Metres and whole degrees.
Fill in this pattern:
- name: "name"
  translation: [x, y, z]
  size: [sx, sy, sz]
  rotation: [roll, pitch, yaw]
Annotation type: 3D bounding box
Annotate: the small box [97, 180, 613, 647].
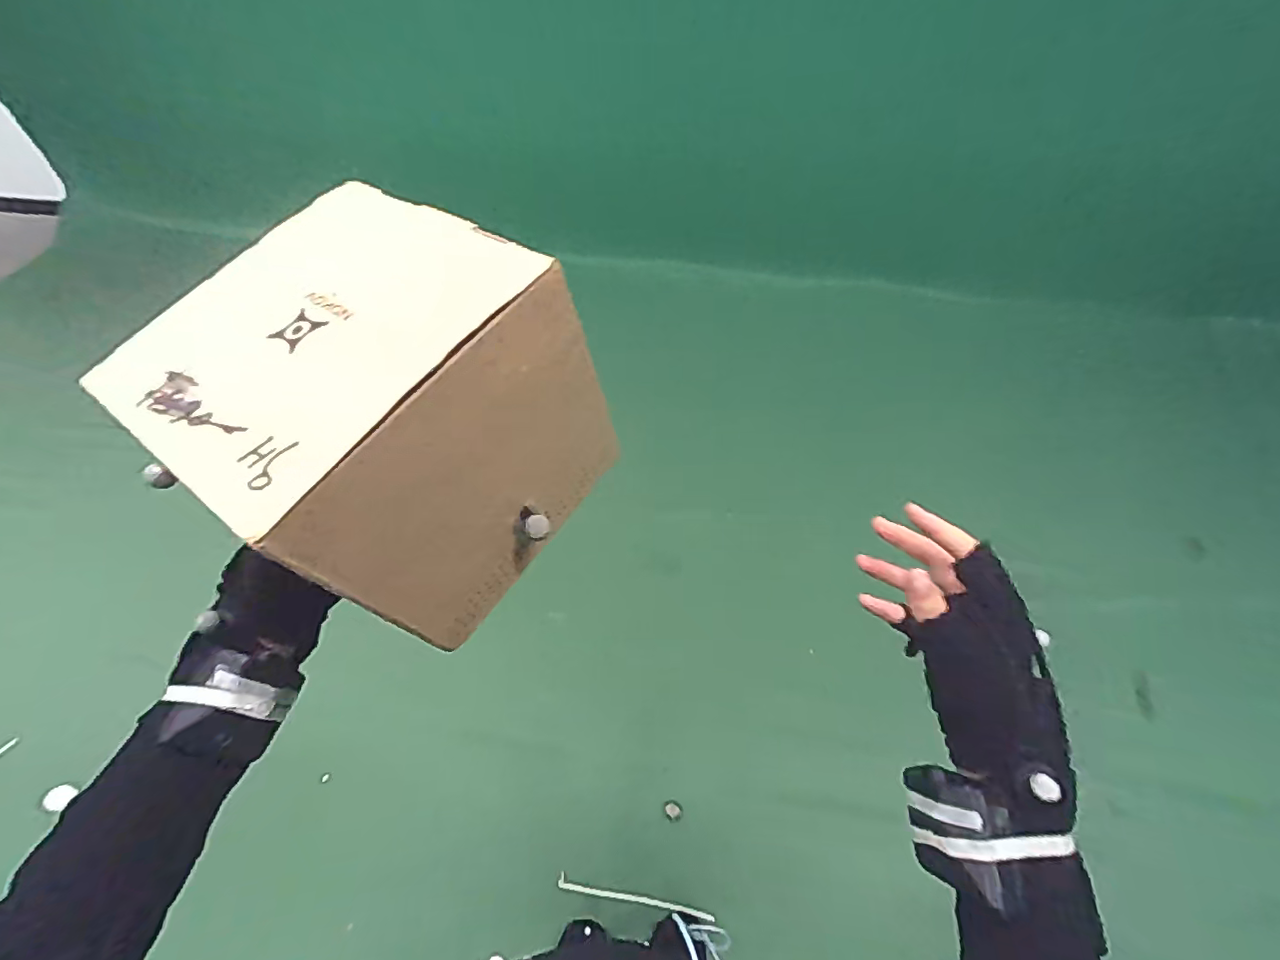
- name: "small box"
  translation: [-0.132, -0.035, 0.319]
  size: [0.168, 0.176, 0.179]
  rotation: [30, 68, 25]
